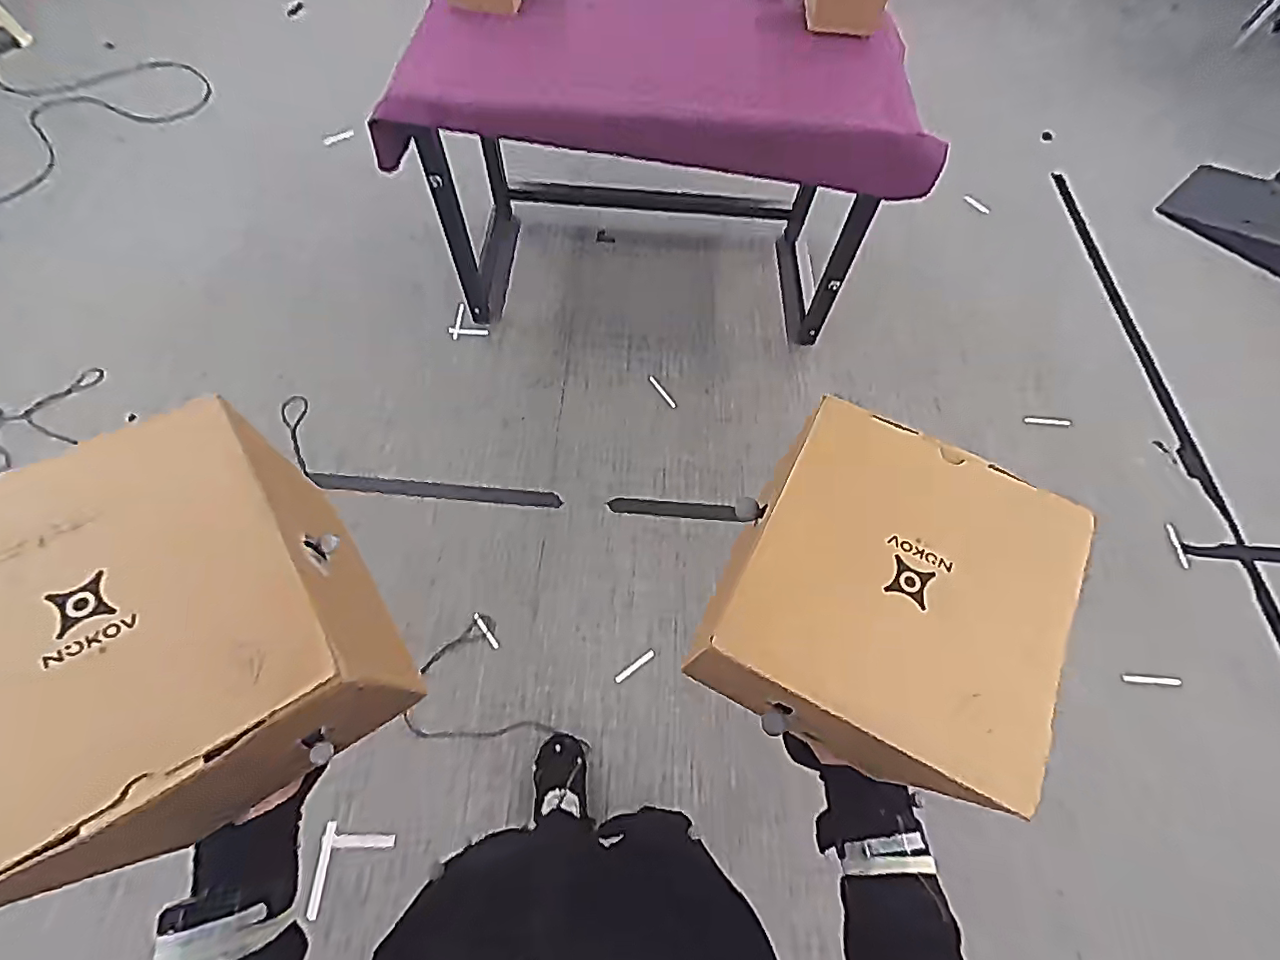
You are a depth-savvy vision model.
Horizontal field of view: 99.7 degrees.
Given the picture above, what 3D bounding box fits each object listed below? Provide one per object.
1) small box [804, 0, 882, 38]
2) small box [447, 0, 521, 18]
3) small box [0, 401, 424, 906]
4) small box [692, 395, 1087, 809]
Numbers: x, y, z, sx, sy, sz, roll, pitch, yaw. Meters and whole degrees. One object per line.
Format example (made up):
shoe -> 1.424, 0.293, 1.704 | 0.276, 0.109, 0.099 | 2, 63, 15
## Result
small box -> 0.523, -1.261, 1.372 | 0.179, 0.176, 0.168 | 5, 64, -1
small box -> -0.399, -1.301, 1.353 | 0.179, 0.176, 0.168 | 7, 65, -1
small box -> -0.253, 0.093, 0.317 | 0.168, 0.176, 0.179 | -30, 72, -19
small box -> 0.144, 0.082, 0.366 | 0.168, 0.176, 0.179 | 26, 67, 10
